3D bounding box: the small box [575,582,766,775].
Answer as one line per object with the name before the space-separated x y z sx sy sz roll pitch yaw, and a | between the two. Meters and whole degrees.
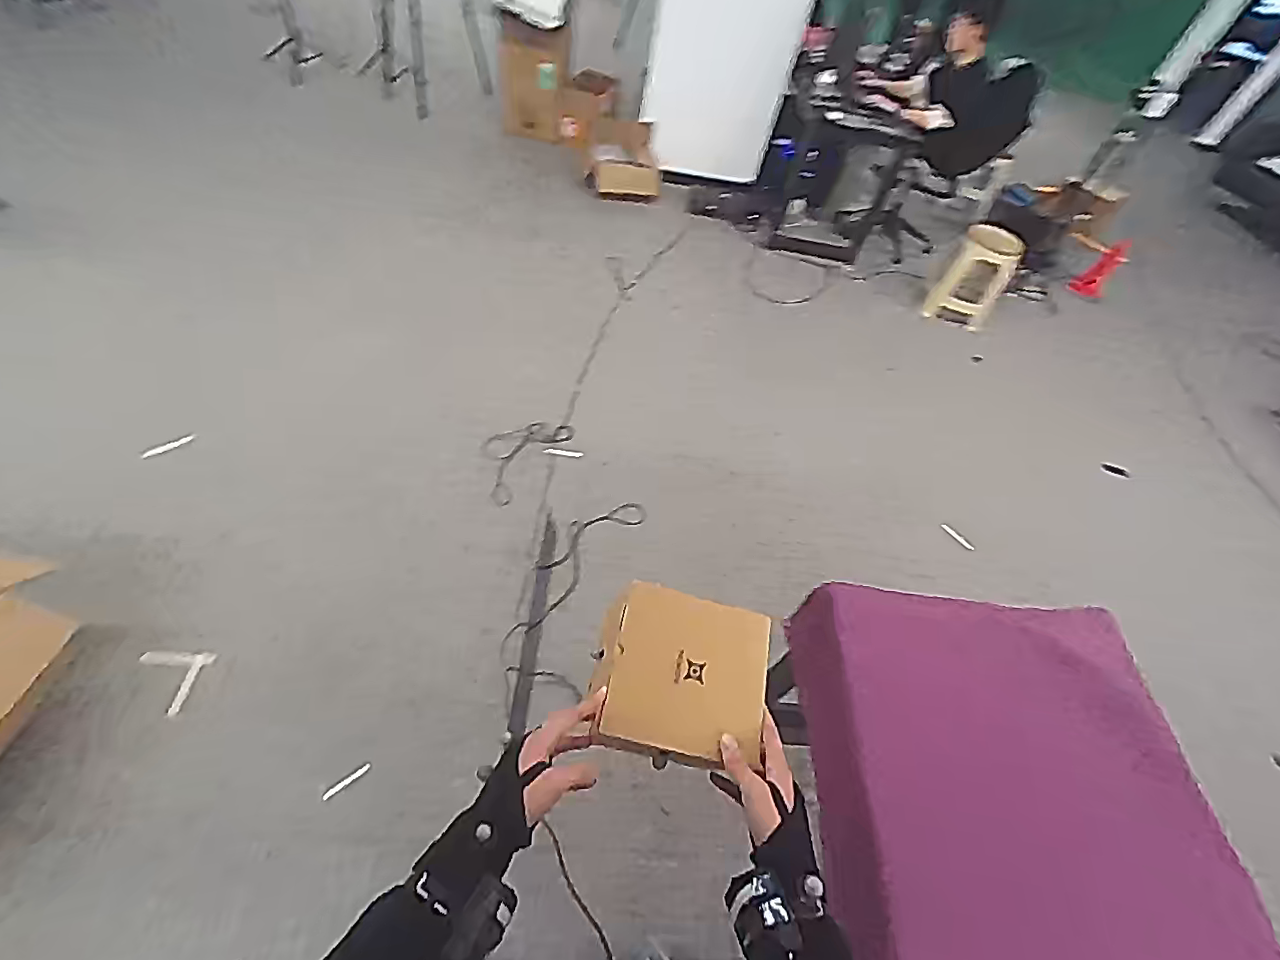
small box | 0.031 0.241 0.648 0.179 0.176 0.168 15 61 -5
